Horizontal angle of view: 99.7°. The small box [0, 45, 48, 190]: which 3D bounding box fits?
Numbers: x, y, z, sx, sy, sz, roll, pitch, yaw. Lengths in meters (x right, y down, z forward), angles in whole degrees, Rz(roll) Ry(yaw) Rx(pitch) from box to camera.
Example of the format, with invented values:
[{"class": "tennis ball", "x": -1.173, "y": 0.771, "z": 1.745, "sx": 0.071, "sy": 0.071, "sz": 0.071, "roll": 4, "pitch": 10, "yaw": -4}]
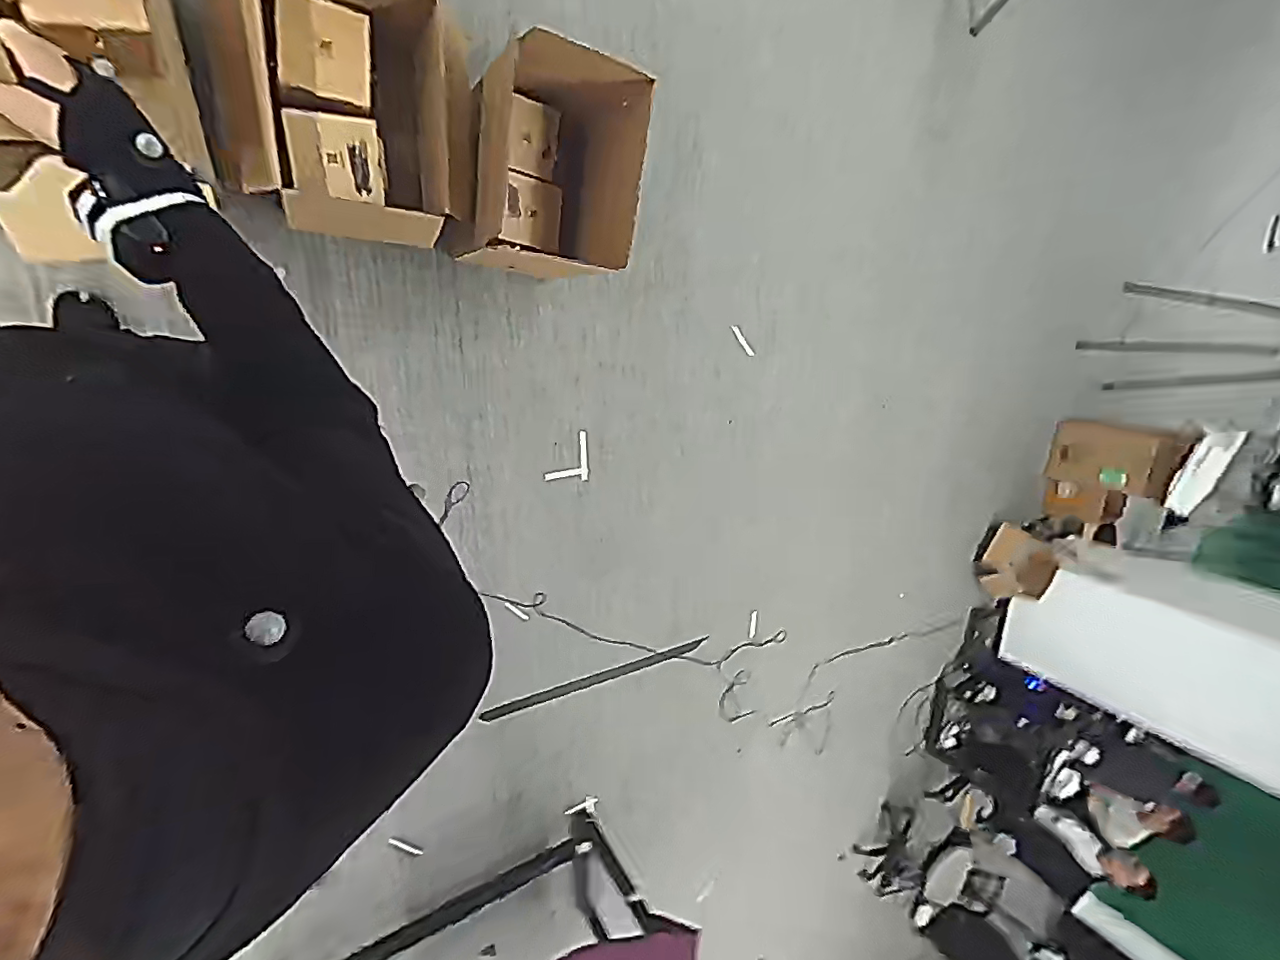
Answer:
[{"class": "small box", "x": -0.609, "y": -0.313, "z": 0.396, "sx": 0.179, "sy": 0.176, "sz": 0.168, "roll": -35, "pitch": 124, "yaw": -50}]
